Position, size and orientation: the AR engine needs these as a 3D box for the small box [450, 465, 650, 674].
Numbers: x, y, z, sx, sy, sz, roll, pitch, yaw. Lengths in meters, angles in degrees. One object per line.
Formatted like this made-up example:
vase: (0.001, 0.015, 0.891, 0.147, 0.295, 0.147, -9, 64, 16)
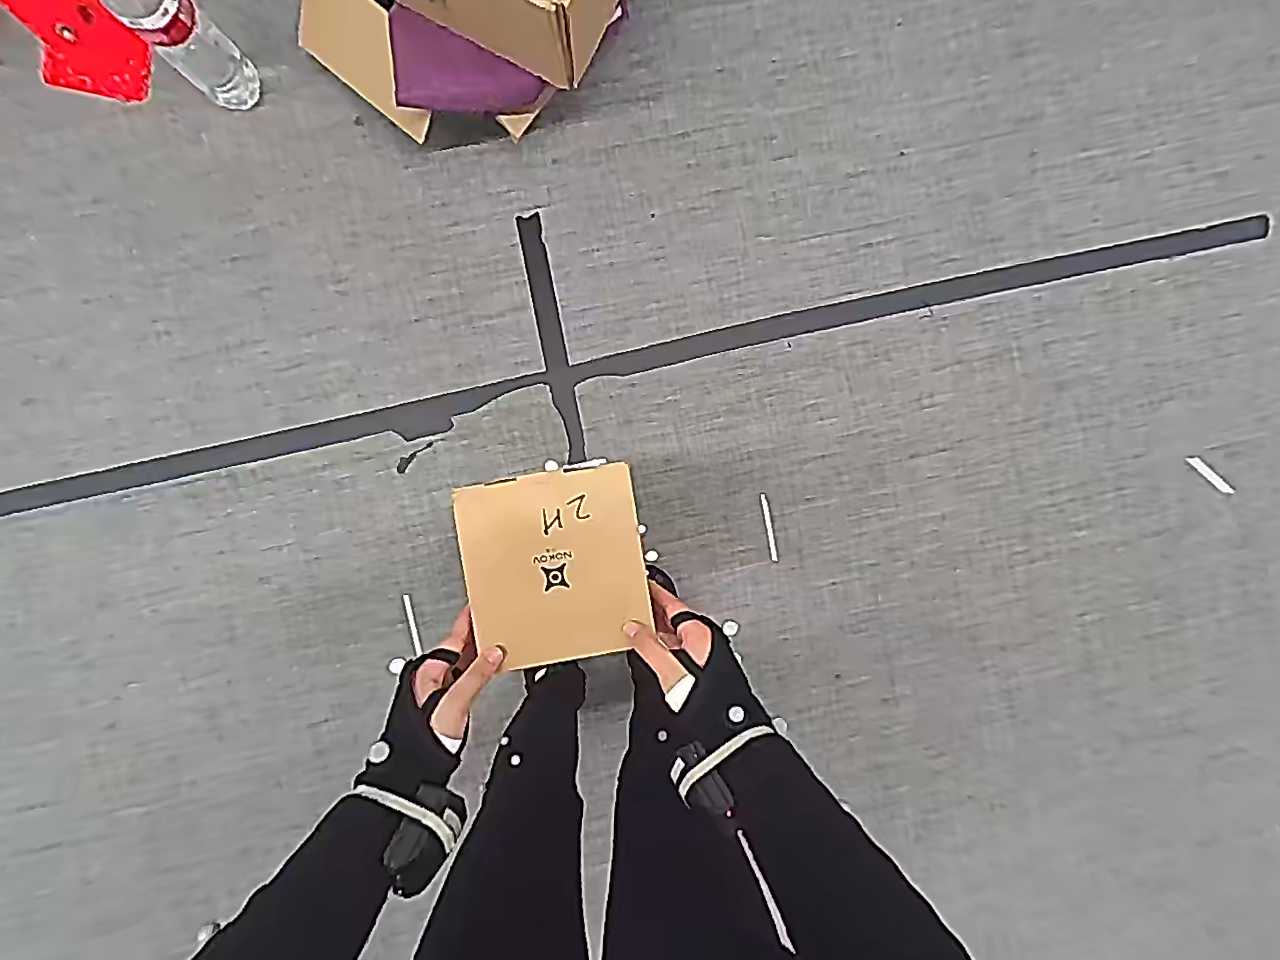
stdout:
small box: (-0.086, 0.082, 0.582, 0.168, 0.176, 0.179, -10, 90, -3)
